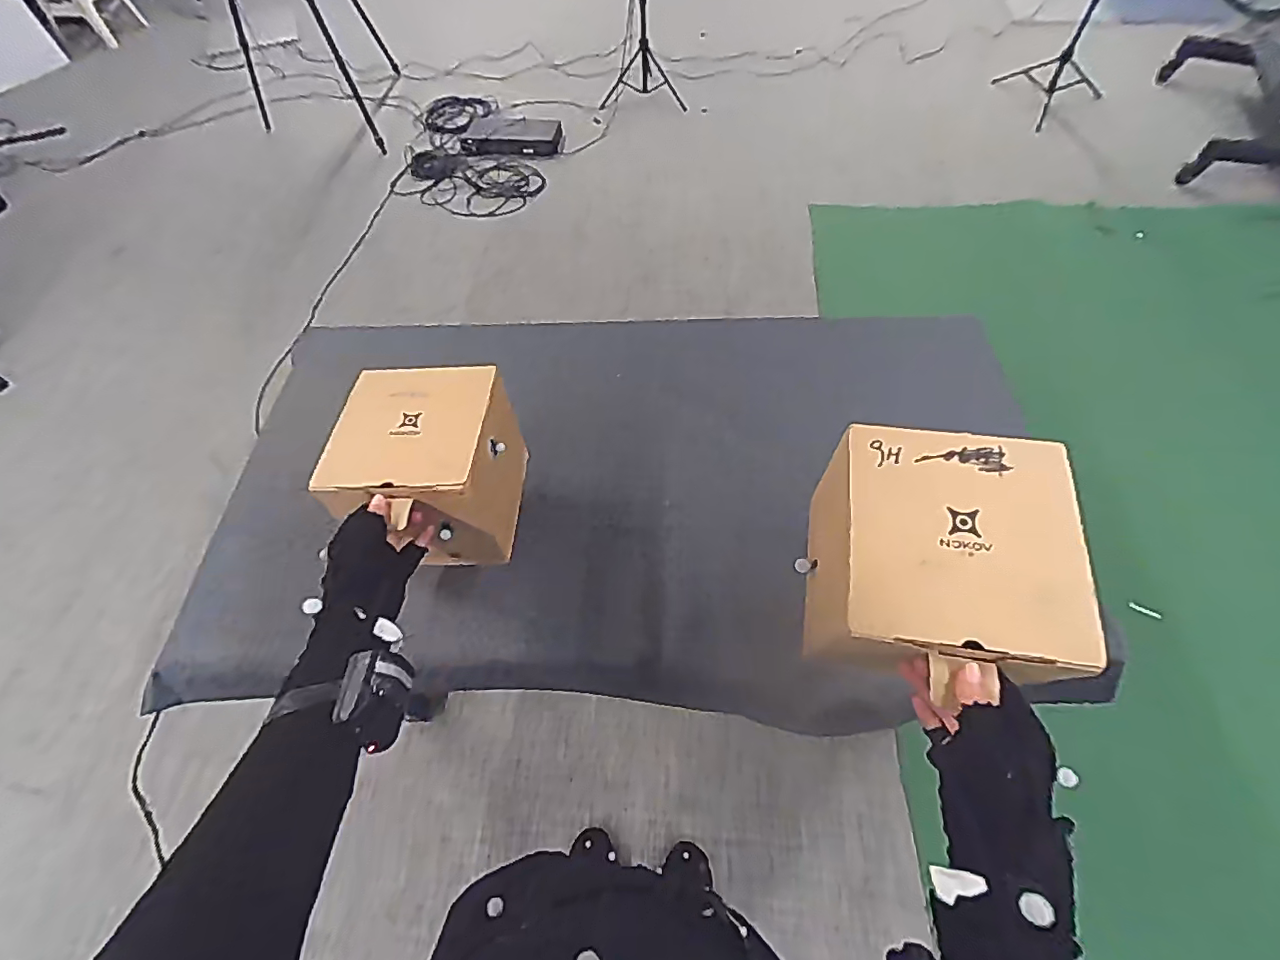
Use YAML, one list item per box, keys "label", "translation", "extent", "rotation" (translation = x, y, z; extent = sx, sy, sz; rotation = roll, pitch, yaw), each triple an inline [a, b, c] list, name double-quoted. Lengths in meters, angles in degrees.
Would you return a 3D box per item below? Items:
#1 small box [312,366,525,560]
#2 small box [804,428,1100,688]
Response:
- label: "small box"
  translation: [-0.244, -0.014, 0.651]
  extent: [0.168, 0.176, 0.179]
  rotation: [-1, 53, 2]
- label: "small box"
  translation: [0.245, 0.077, 0.473]
  extent: [0.168, 0.176, 0.179]
  rotation: [7, 66, 8]
